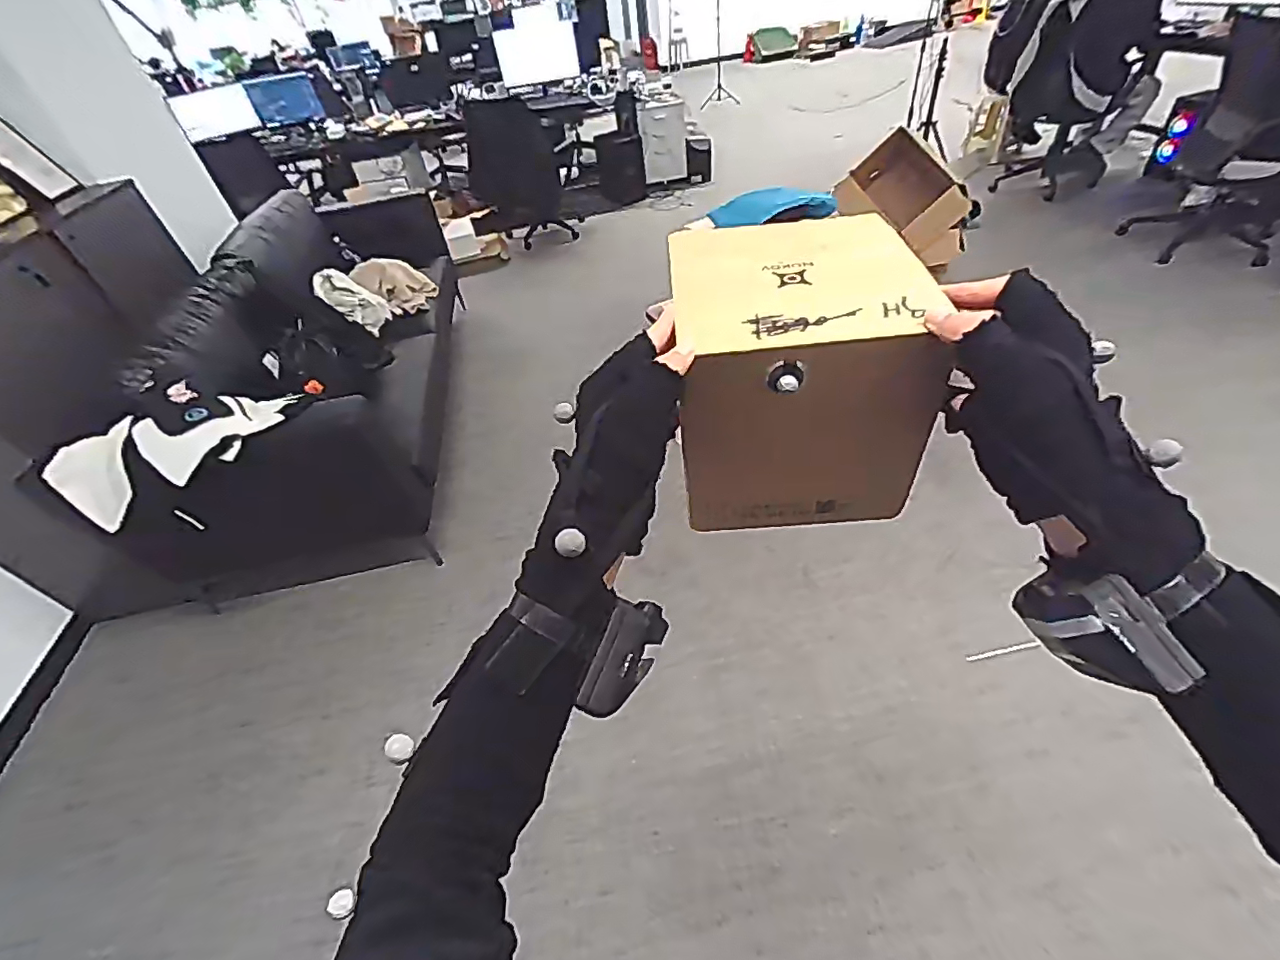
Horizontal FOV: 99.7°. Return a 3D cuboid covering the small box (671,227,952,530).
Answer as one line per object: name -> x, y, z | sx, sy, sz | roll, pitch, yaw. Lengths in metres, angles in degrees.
small box -> 0.111, -0.080, 0.435 | 0.168, 0.176, 0.179 | -4, 45, 6
